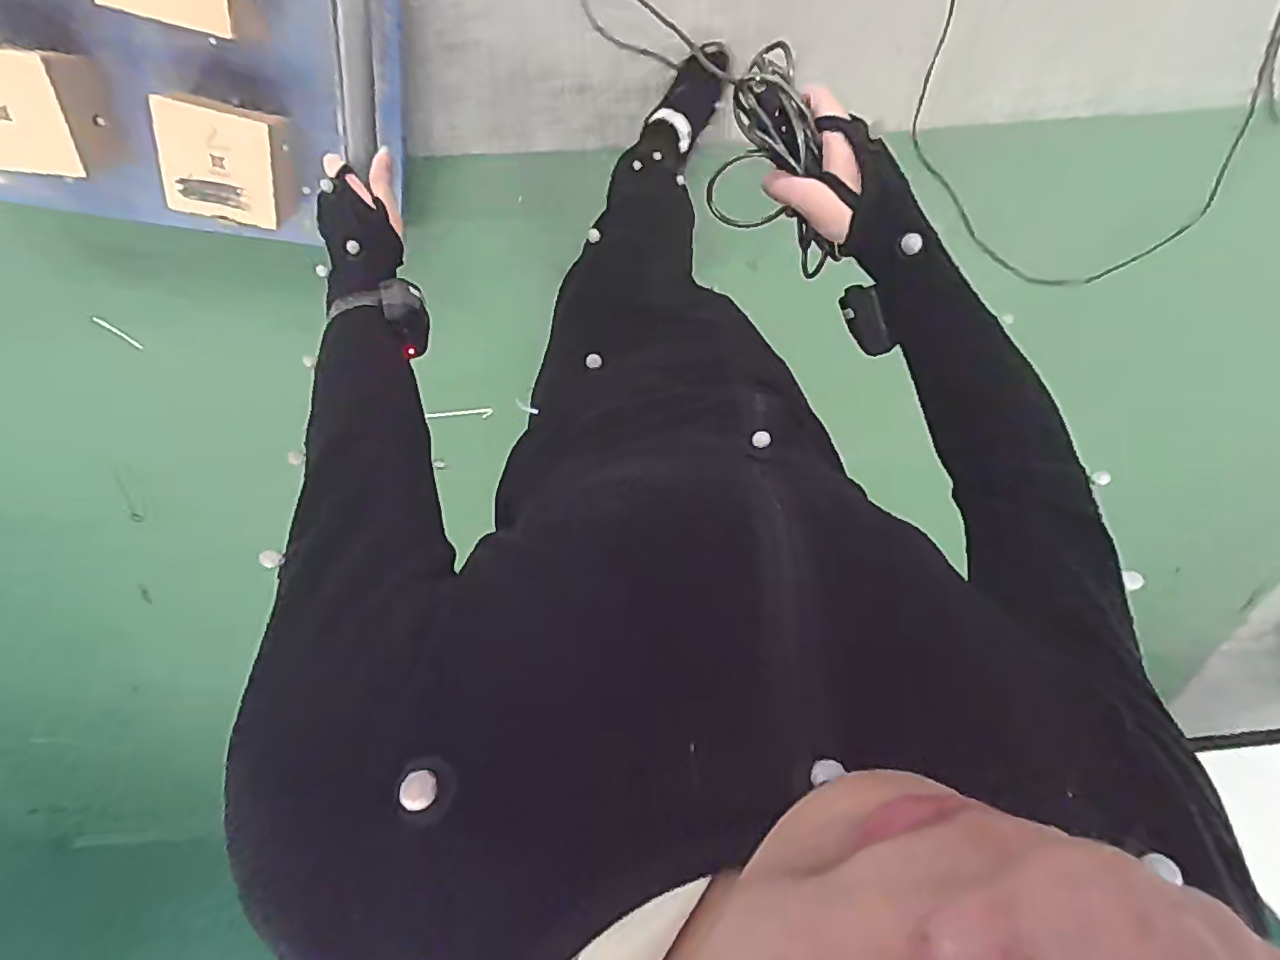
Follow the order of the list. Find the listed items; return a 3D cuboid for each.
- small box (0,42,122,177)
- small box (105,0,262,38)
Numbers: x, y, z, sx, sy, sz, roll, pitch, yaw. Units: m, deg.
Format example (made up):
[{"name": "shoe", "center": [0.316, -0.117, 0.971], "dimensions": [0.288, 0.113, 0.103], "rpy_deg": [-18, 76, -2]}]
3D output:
[{"name": "small box", "center": [-1.008, -0.611, 0.886], "dimensions": [0.179, 0.176, 0.168], "rpy_deg": [-2, 126, -17]}, {"name": "small box", "center": [-0.719, -0.810, 0.835], "dimensions": [0.179, 0.176, 0.168], "rpy_deg": [2, 125, -20]}]
